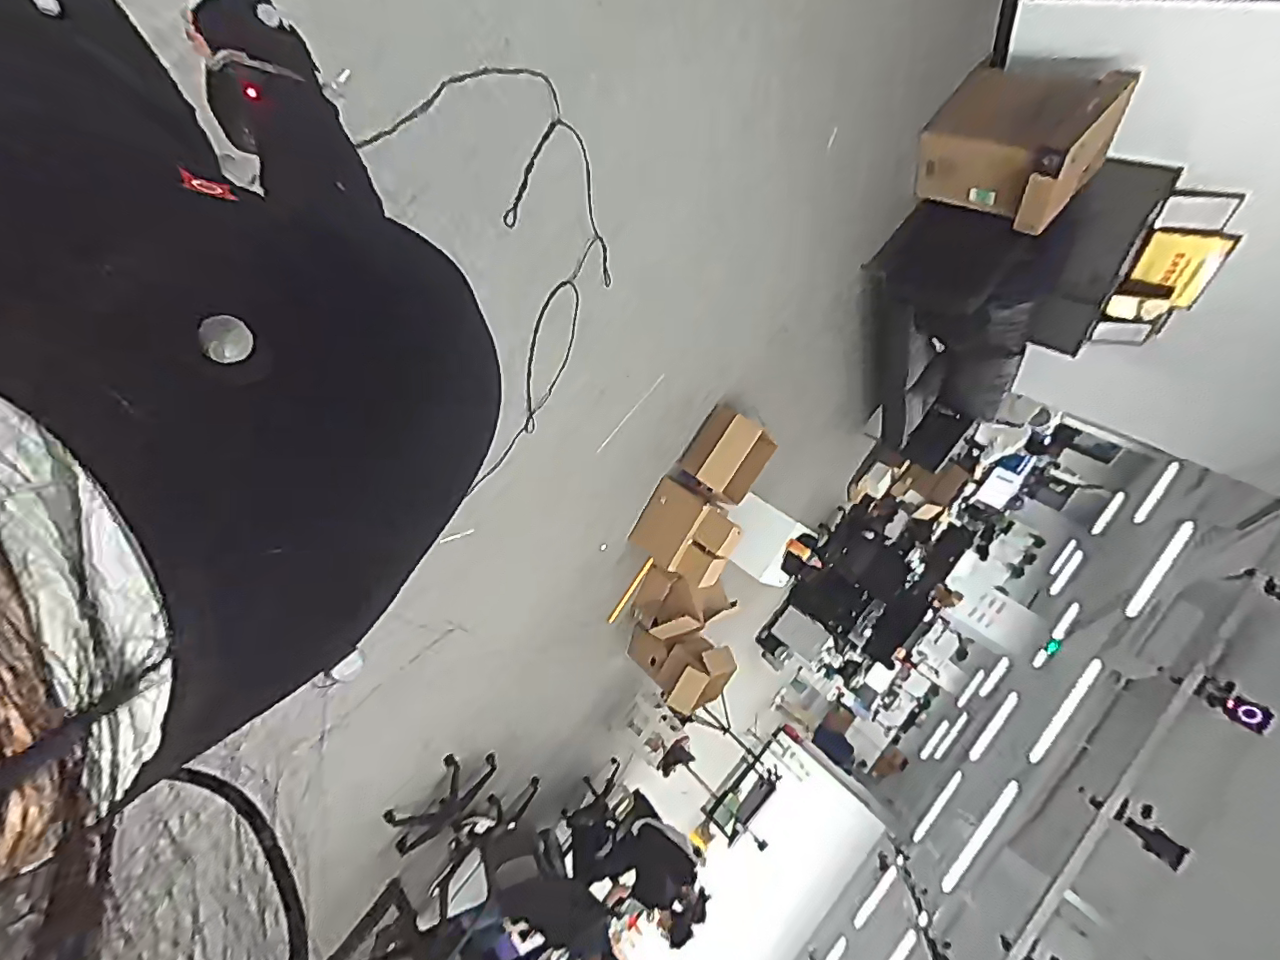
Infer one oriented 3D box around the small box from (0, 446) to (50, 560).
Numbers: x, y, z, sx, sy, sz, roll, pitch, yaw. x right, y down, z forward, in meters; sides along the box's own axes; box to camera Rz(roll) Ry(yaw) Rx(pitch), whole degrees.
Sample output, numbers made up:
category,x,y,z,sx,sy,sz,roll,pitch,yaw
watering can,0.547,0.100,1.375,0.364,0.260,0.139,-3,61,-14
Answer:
category,x,y,z,sx,sy,sz,roll,pitch,yaw
small box,-1.264,0.027,1.002,0.179,0.176,0.168,-53,148,0
